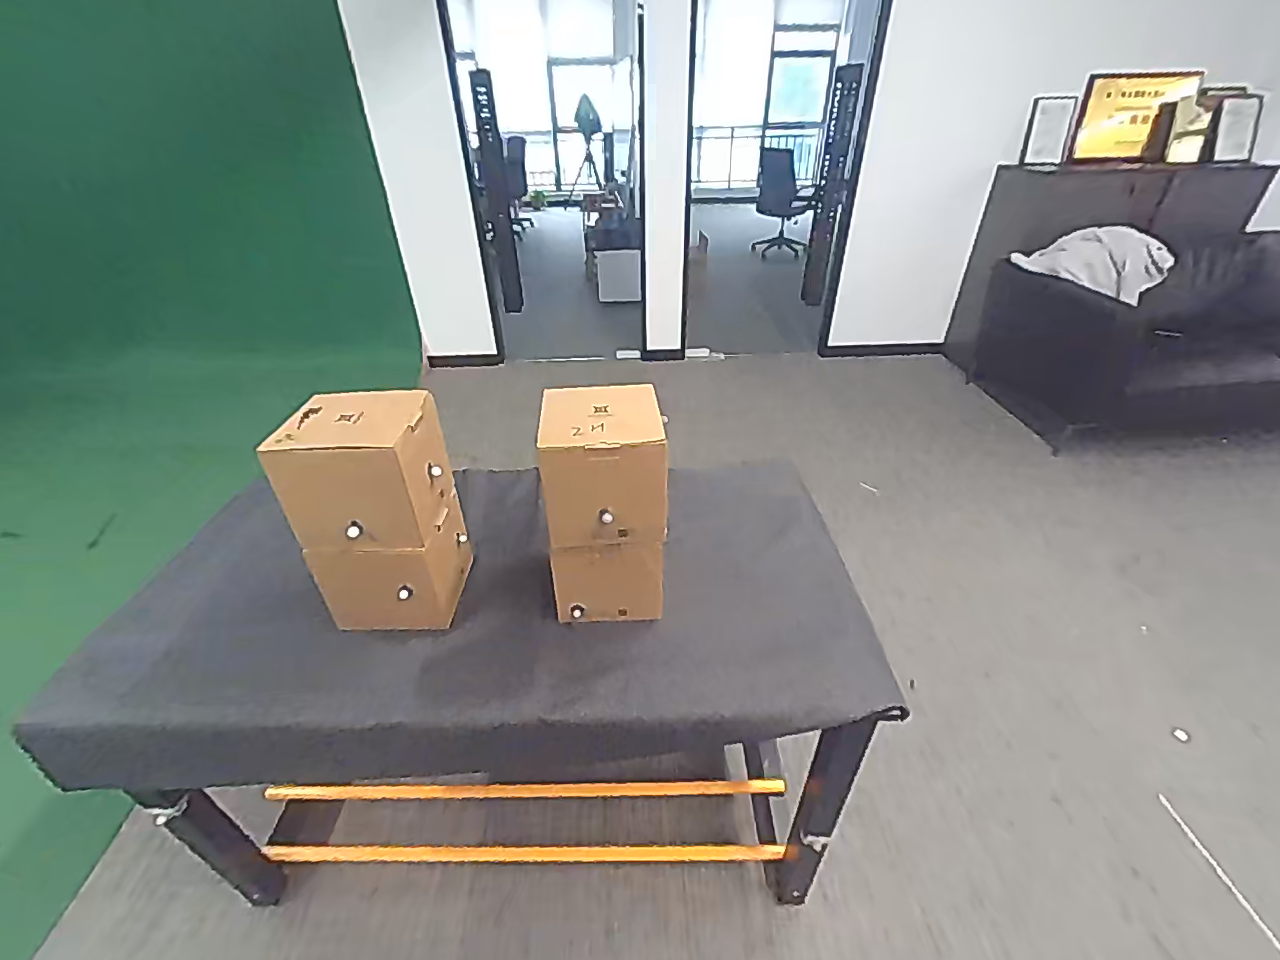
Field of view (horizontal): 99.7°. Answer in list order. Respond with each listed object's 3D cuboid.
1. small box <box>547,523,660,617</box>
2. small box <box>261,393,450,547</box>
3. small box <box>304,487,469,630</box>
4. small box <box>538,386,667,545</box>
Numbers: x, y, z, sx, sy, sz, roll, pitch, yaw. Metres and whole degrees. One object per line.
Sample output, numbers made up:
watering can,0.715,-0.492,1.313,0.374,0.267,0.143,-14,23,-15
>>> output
small box,-0.053,0.110,0.890,0.168,0.176,0.179,-1,33,-2
small box,-0.393,-0.015,0.789,0.179,0.176,0.168,-1,33,-2
small box,-0.390,0.125,0.874,0.179,0.176,0.168,-1,33,0
small box,-0.053,-0.025,0.796,0.168,0.176,0.179,-4,34,-4
